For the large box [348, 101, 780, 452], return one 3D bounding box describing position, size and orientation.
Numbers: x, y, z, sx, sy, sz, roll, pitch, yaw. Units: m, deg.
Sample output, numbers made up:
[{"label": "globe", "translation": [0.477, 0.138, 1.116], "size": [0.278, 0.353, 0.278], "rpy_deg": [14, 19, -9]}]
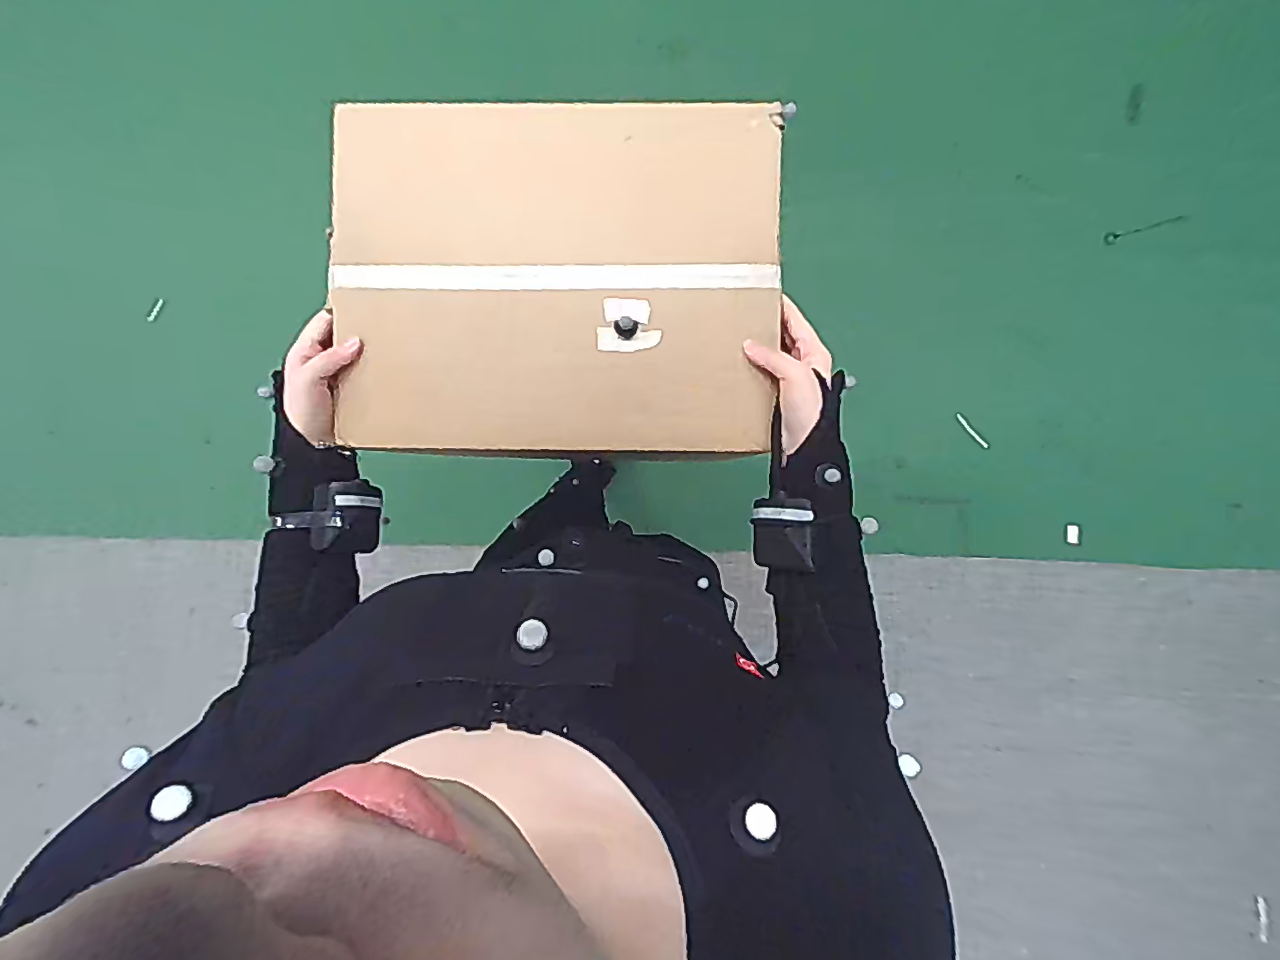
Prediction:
[{"label": "large box", "translation": [-0.072, -0.196, 0.647], "size": [0.408, 0.320, 0.320], "rpy_deg": [1, 91, 0]}]
